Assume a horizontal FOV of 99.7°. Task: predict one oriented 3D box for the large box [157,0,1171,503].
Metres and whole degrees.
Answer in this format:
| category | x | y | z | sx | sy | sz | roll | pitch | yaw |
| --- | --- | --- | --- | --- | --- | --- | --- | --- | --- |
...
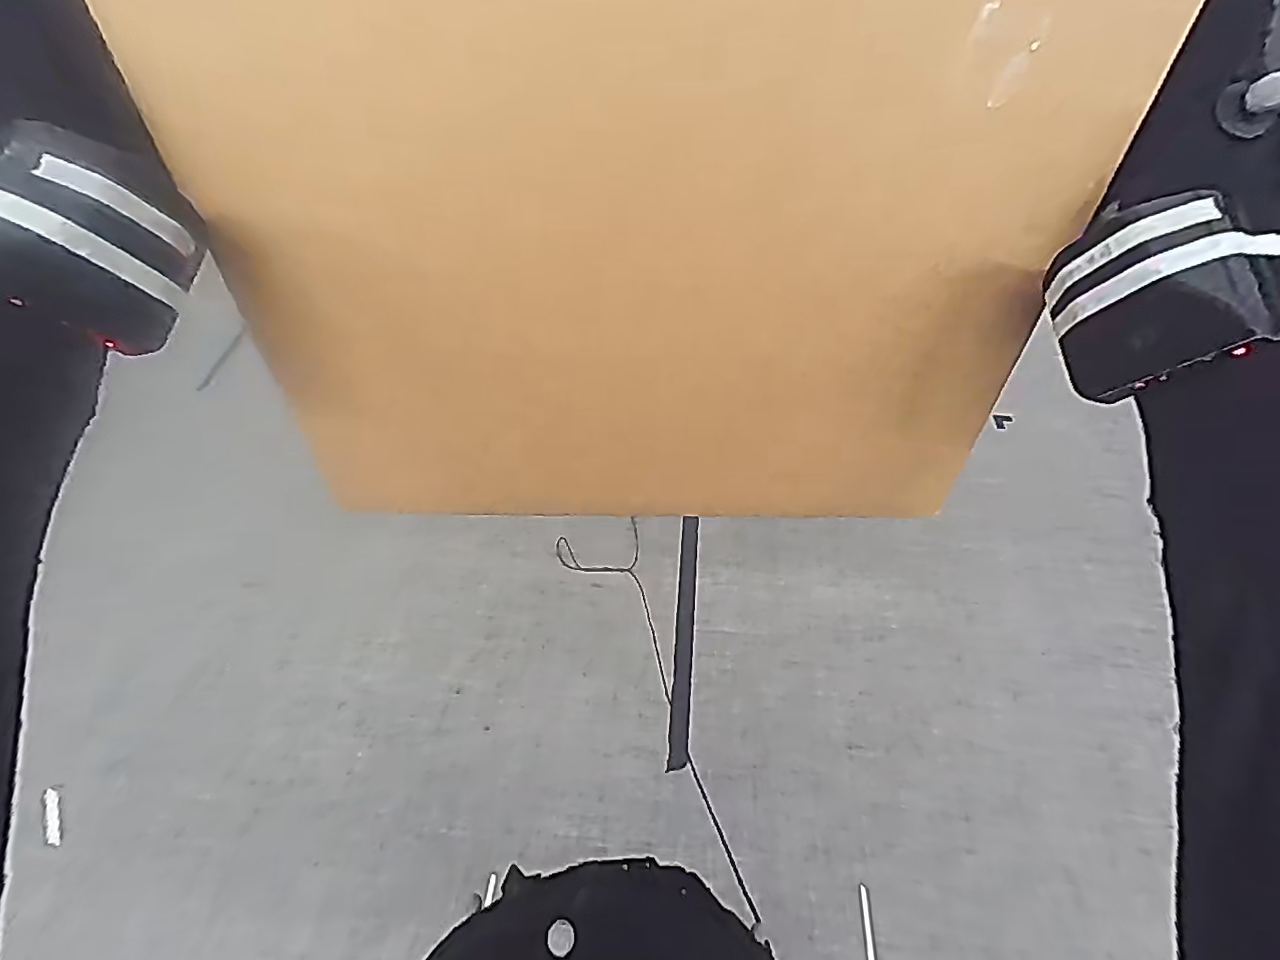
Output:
| category | x | y | z | sx | sy | sz | roll | pitch | yaw |
| --- | --- | --- | --- | --- | --- | --- | --- | --- | --- |
| large box | 0.005 | -0.193 | 0.391 | 0.408 | 0.320 | 0.320 | 1 | 41 | -2 |
